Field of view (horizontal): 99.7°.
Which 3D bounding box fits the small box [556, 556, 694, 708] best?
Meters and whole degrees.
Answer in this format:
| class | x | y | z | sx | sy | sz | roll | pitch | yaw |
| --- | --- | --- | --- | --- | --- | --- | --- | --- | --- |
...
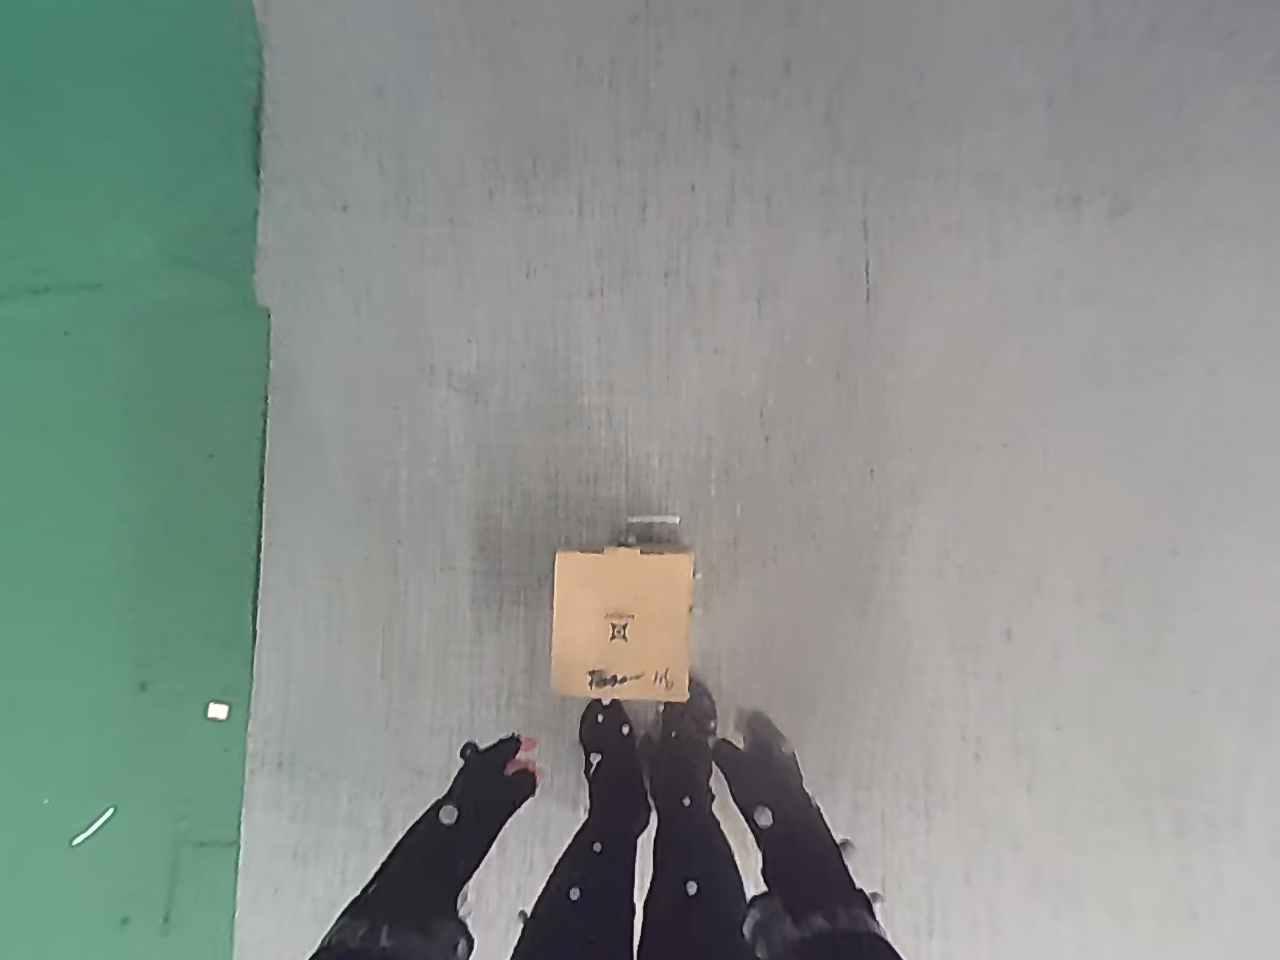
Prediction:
| class | x | y | z | sx | sy | sz | roll | pitch | yaw |
| --- | --- | --- | --- | --- | --- | --- | --- | --- | --- |
| small box | -0.012 | 0.193 | 0.736 | 0.168 | 0.176 | 0.179 | 0 | 84 | 6 |
